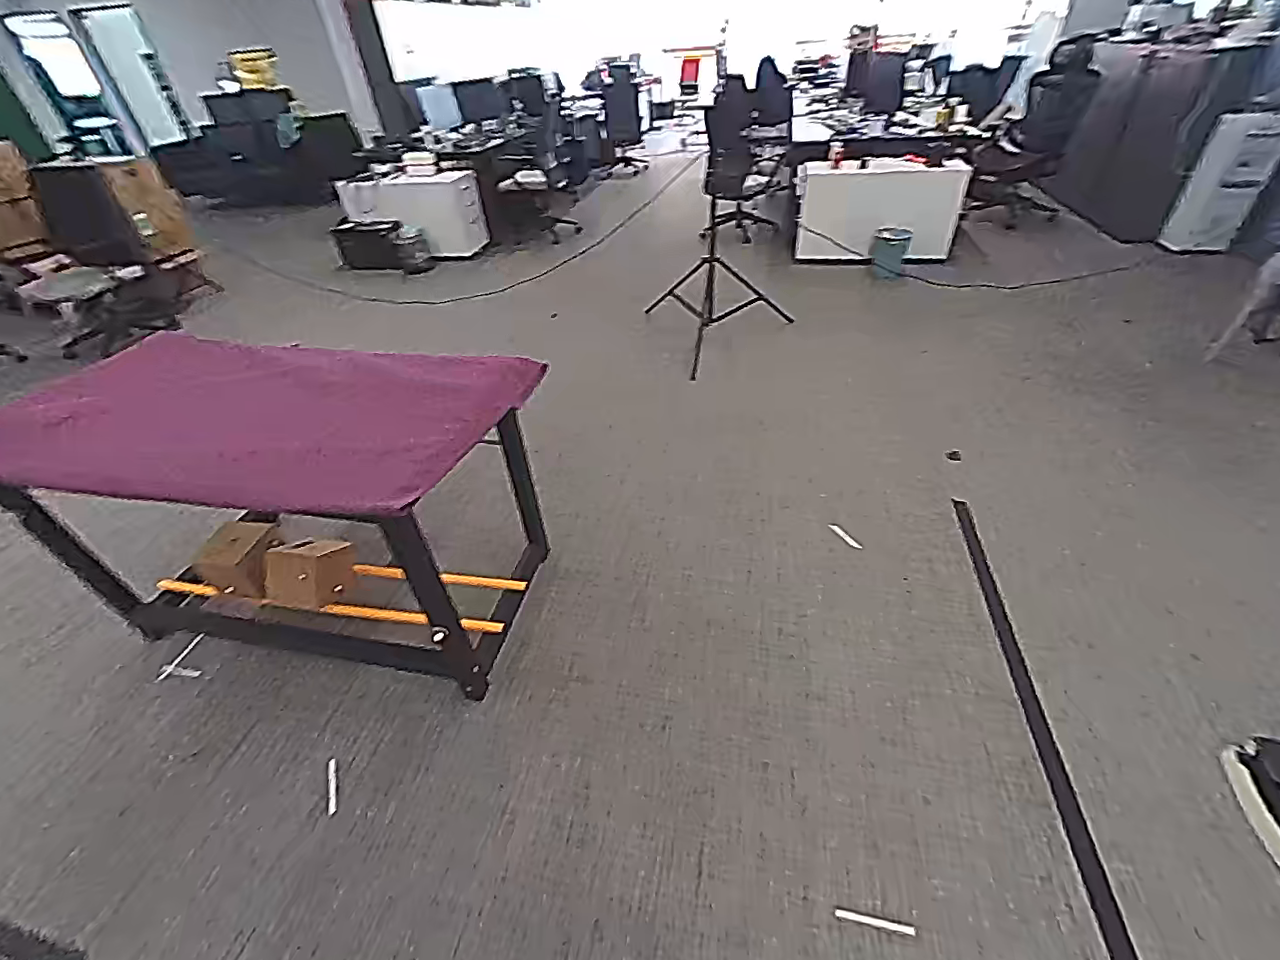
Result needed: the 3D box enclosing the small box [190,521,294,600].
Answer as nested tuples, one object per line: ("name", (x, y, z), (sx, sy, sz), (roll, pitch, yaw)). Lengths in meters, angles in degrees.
("small box", (-1.230, 0.251, 1.693), (0.168, 0.176, 0.179), (3, 41, 9))
